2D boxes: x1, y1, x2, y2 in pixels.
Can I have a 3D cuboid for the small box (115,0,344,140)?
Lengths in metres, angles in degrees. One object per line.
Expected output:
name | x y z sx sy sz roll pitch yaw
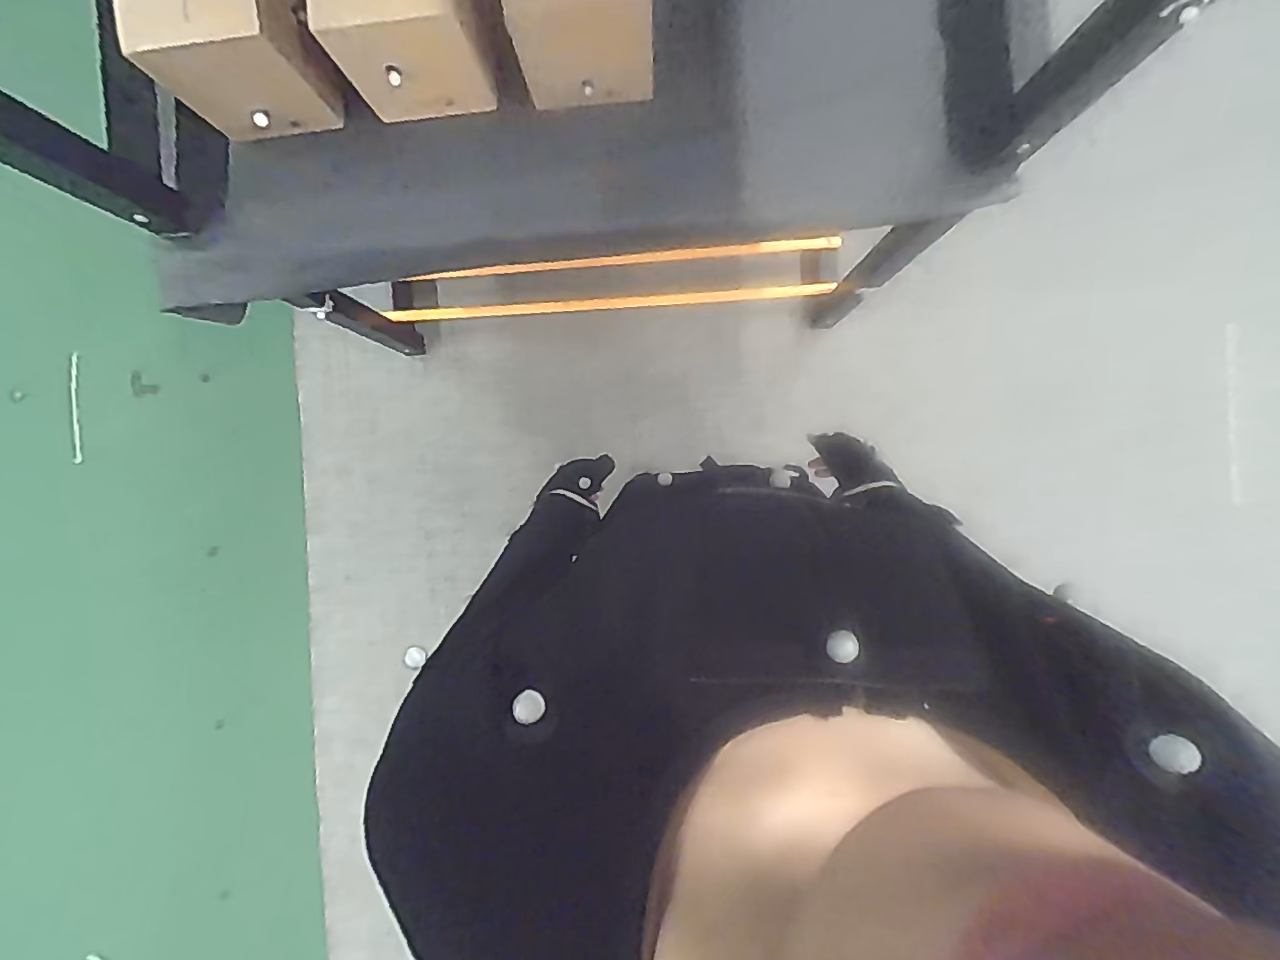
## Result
small box | -0.507 -0.575 0.686 0.168 0.176 0.179 -6 91 3
